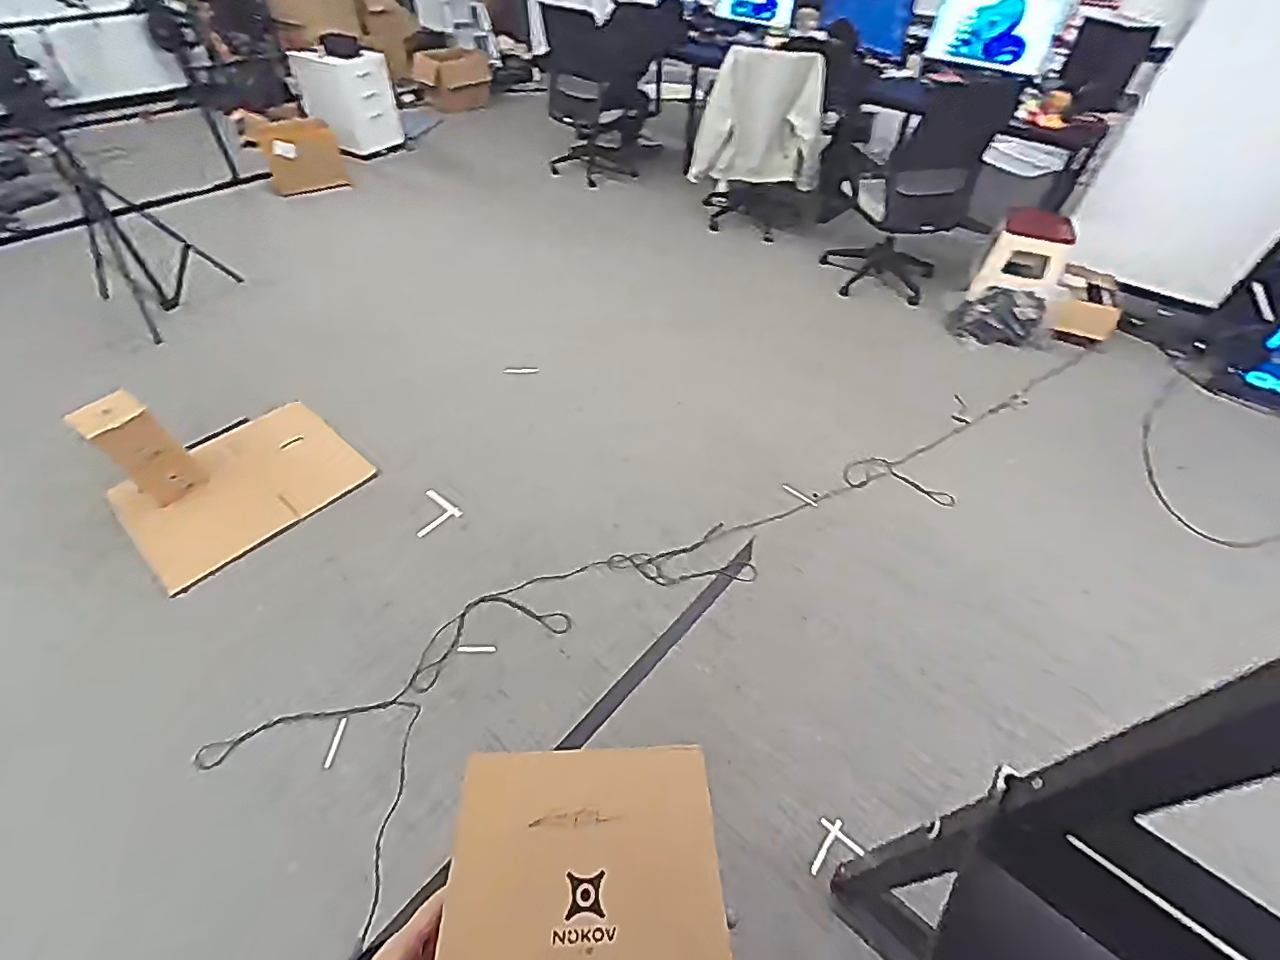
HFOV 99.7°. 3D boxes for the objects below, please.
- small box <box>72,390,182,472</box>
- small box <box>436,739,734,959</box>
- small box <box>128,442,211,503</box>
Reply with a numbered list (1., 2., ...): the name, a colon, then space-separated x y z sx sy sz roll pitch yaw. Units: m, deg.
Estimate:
1. small box: -1.638 -0.153 1.734 0.179 0.176 0.168 29 54 22
2. small box: -0.035 0.302 0.368 0.168 0.176 0.179 0 41 -6
3. small box: -1.637 -0.045 1.858 0.179 0.176 0.168 28 53 21
